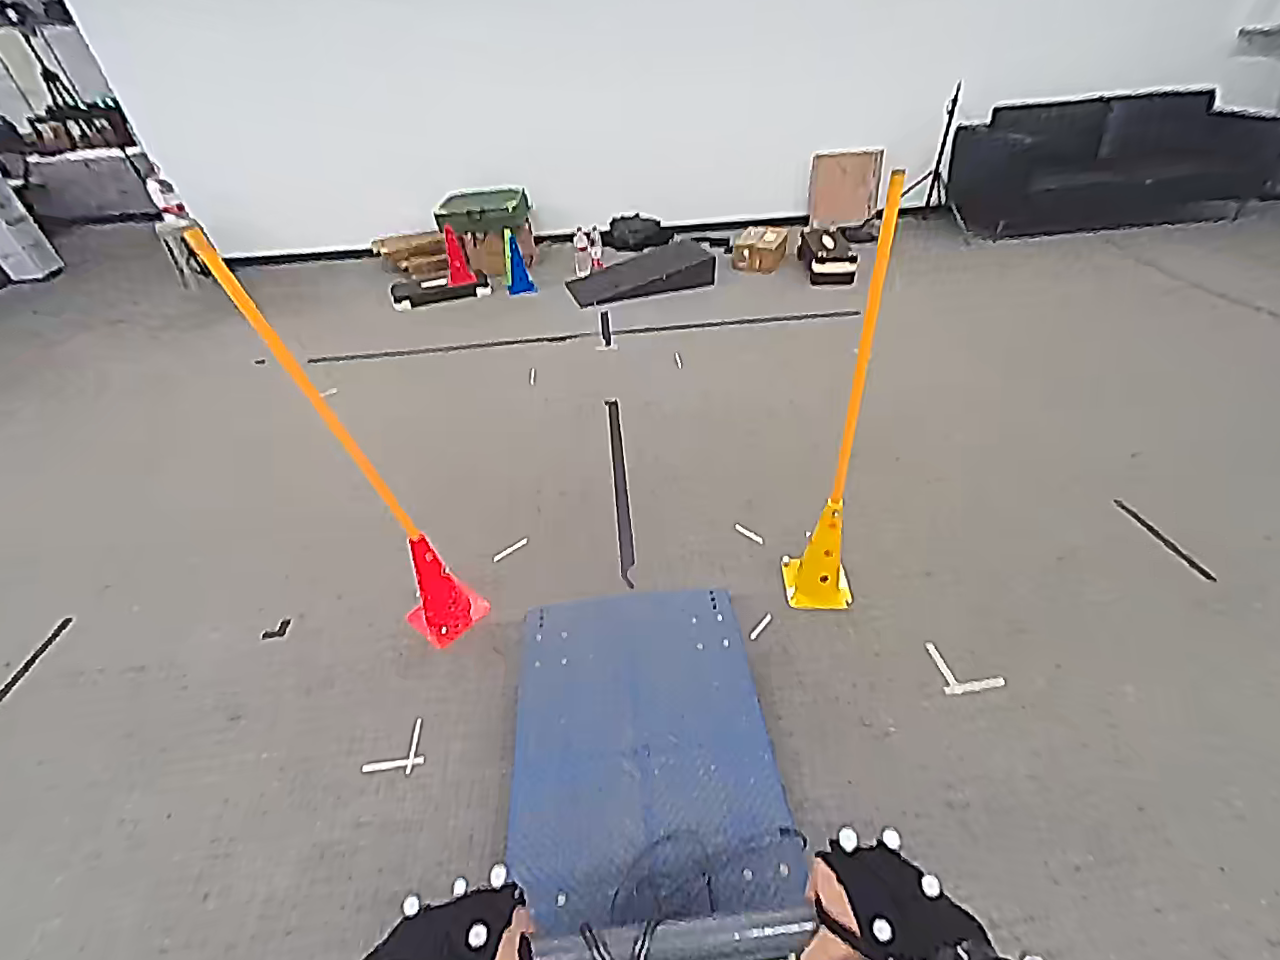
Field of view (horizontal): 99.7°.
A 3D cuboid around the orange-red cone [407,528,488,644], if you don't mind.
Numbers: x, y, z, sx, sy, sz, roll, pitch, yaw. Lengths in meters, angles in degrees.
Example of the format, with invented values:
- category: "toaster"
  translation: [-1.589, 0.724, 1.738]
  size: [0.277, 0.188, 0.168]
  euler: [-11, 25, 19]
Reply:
- category: "orange-red cone"
  translation: [-0.616, 0.282, 1.615]
  size: [0.198, 0.360, 0.199]
  euler: [27, 47, 30]
